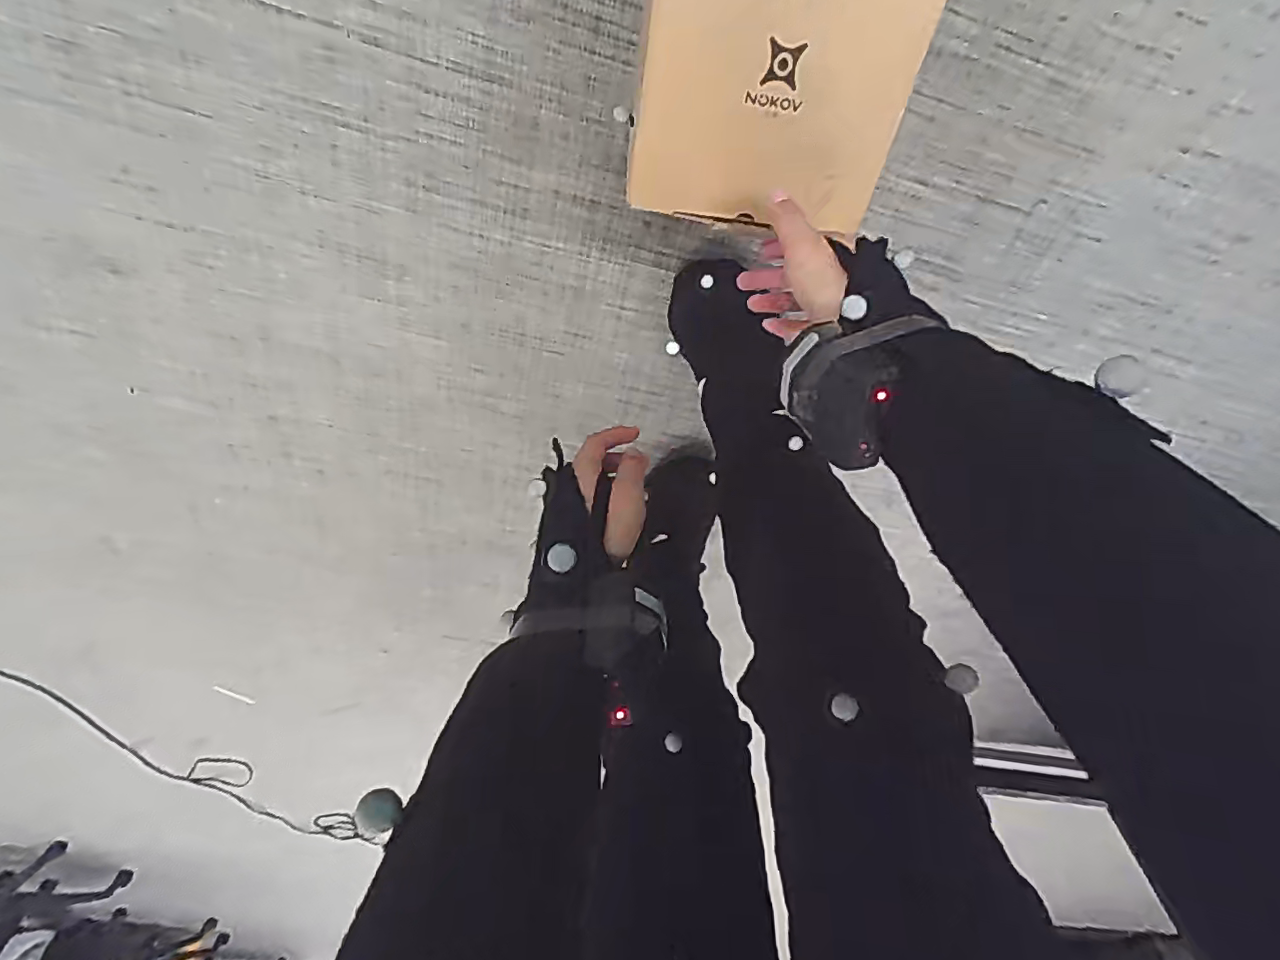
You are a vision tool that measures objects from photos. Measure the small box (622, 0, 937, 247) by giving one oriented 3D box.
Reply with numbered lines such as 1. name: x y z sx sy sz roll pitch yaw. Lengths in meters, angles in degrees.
1. small box: 0.079 -0.294 0.391 0.168 0.176 0.179 5 130 -6
